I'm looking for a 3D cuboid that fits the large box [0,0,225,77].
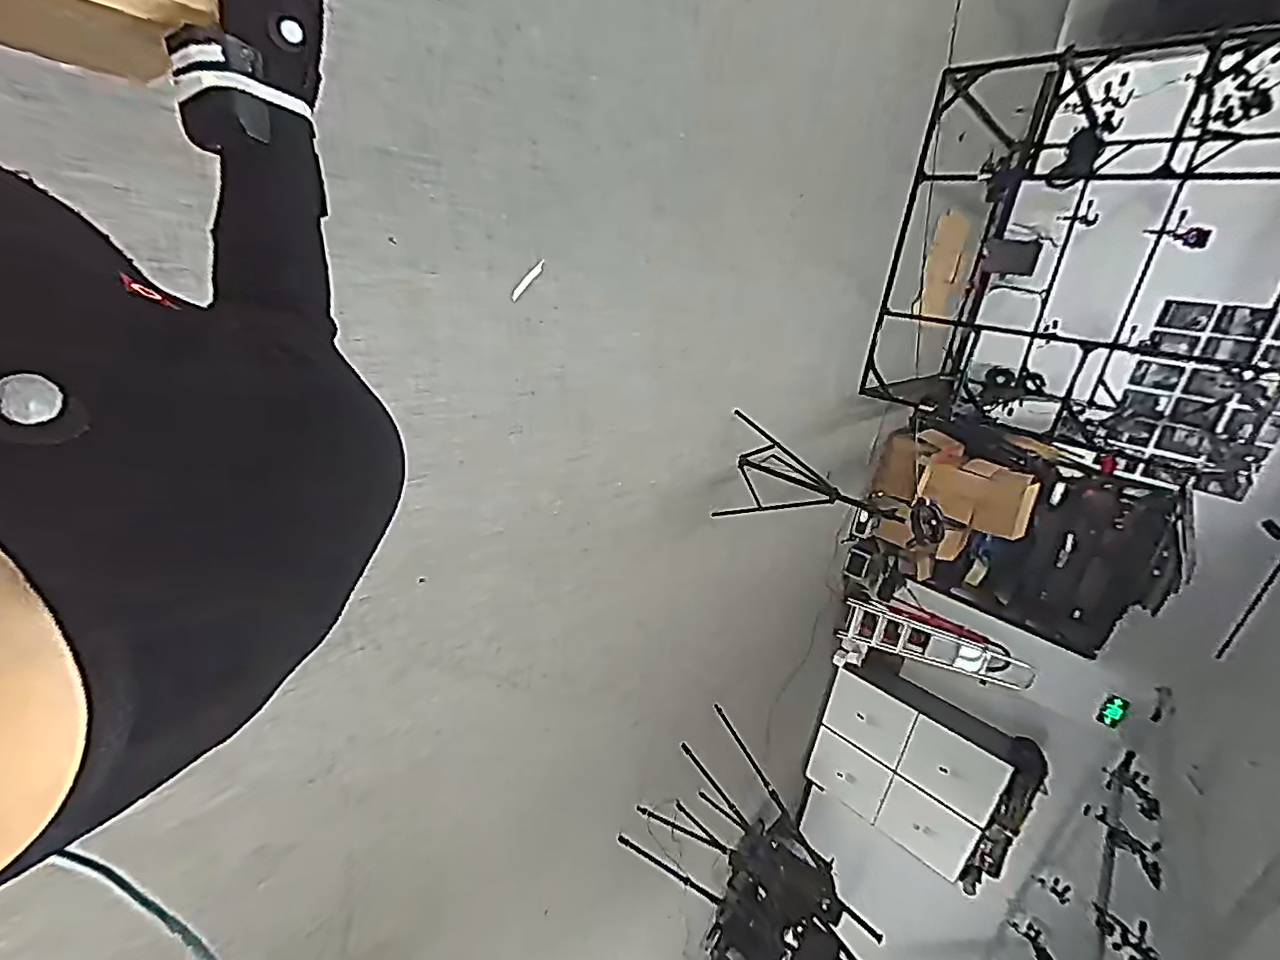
[{"bbox_3d":[-0.528,-0.477,0.287,0.408,0.320,0.320,-16,122,-48],"label":"large box"}]
